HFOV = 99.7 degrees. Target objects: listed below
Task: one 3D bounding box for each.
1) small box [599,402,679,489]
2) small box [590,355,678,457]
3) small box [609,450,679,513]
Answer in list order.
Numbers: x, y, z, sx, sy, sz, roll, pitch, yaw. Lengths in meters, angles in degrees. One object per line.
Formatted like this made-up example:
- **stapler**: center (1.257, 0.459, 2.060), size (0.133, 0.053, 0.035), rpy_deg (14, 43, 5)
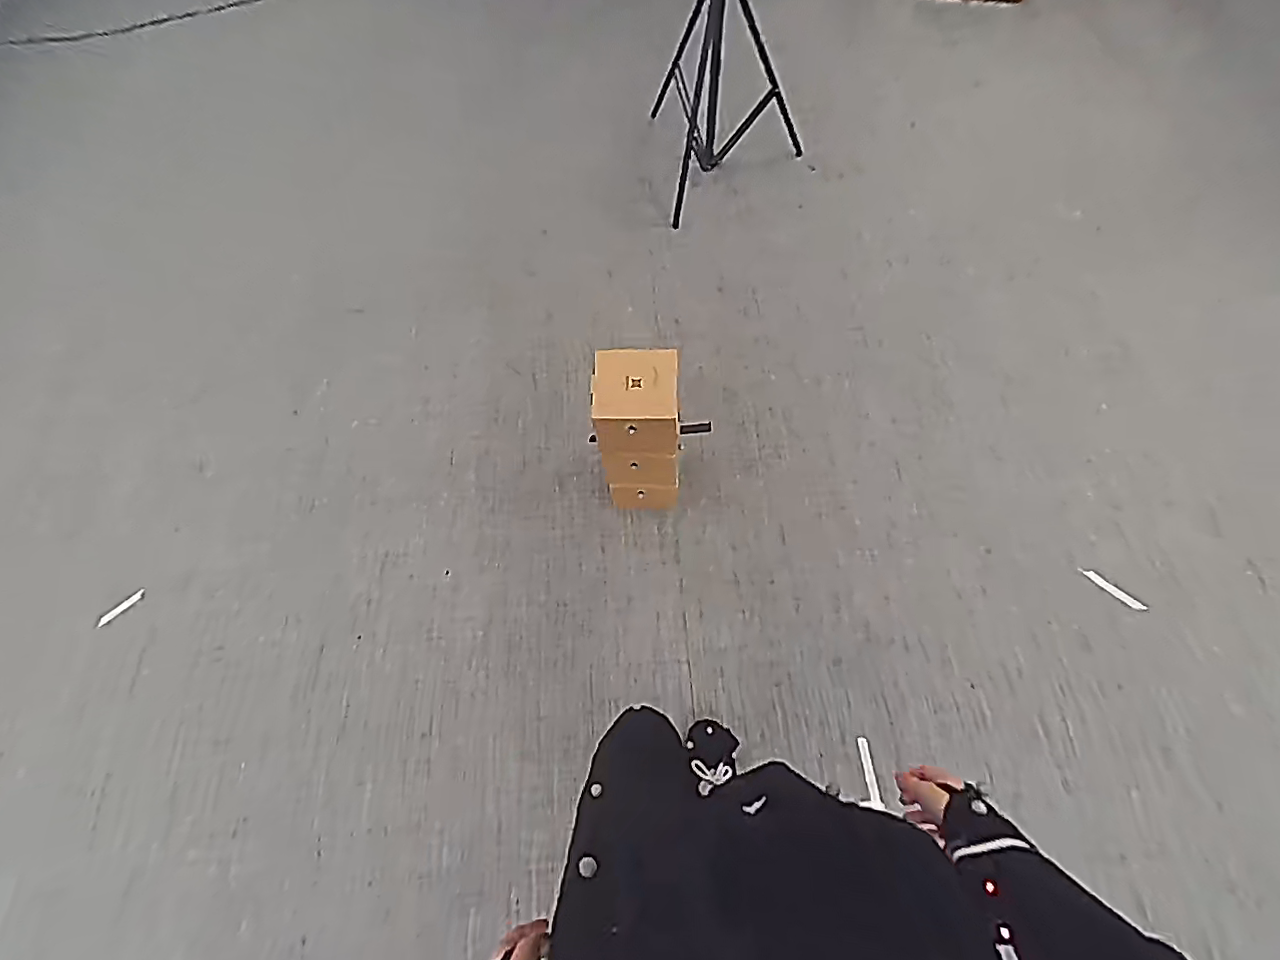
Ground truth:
- **small box**: center (0.004, -0.085, 1.324), size (0.179, 0.176, 0.168), rpy_deg (3, 68, 5)
- **small box**: center (-0.006, -0.155, 1.178), size (0.179, 0.176, 0.168), rpy_deg (0, 68, 4)
- **small box**: center (0.015, -0.013, 1.472), size (0.179, 0.176, 0.168), rpy_deg (0, 67, 4)
